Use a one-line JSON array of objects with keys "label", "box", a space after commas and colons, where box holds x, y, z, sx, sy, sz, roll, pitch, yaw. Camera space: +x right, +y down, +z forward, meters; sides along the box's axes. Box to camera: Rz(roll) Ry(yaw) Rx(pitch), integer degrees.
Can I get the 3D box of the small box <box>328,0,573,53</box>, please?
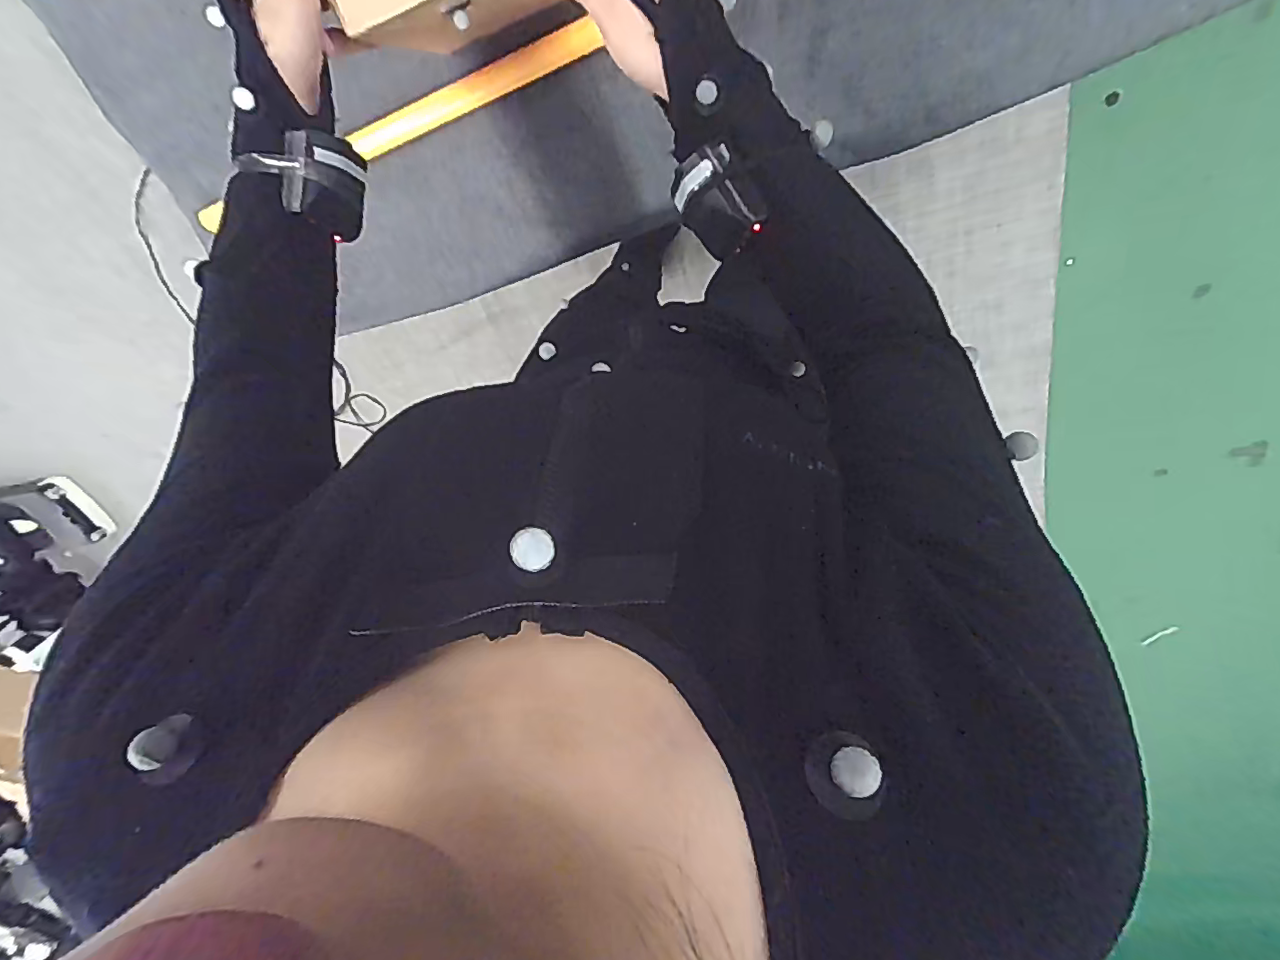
[{"label": "small box", "box": [-0.145, -0.445, 0.399, 0.179, 0.176, 0.168, -10, 123, 16]}]
